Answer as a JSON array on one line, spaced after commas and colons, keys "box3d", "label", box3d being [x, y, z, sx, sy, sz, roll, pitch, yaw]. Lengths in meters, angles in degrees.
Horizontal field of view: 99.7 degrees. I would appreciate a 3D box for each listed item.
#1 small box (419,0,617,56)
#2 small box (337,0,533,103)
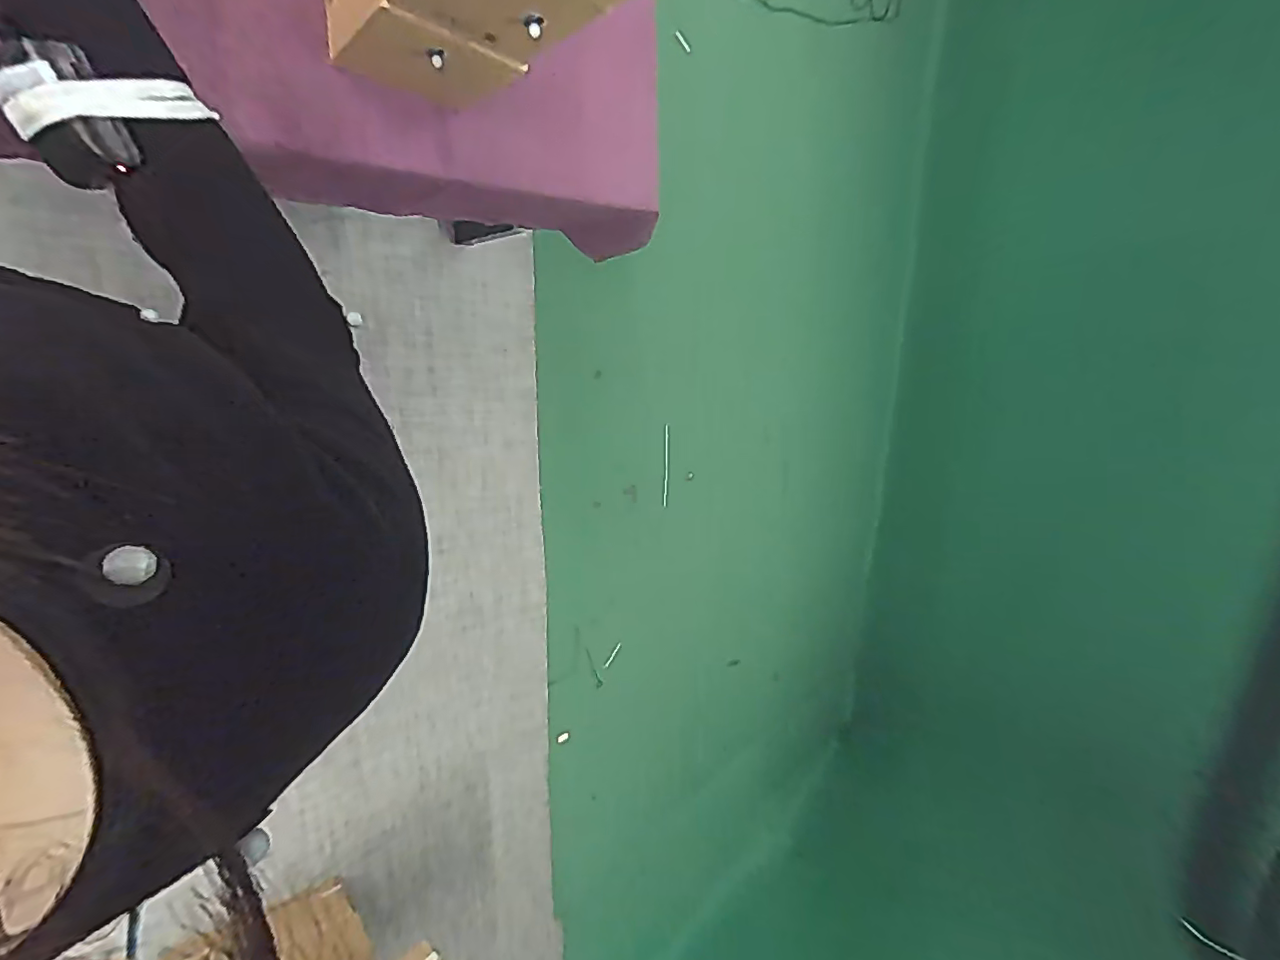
[{"box3d": [-0.132, -0.559, 0.520, 0.168, 0.176, 0.179, -10, 107, -44], "label": "small box"}, {"box3d": [-0.245, -0.580, 0.635, 0.179, 0.176, 0.168, -9, 108, -43], "label": "small box"}]
